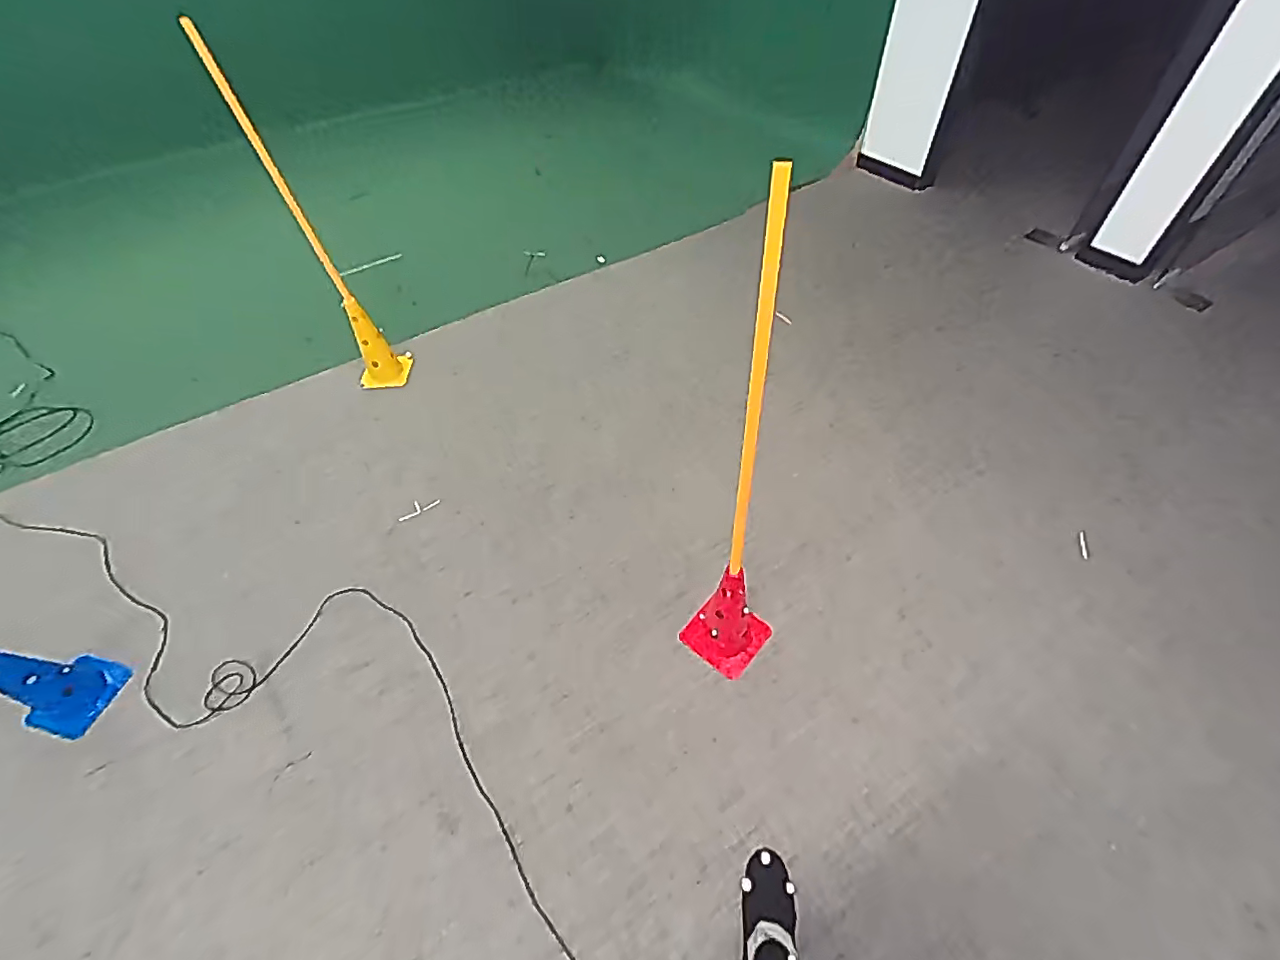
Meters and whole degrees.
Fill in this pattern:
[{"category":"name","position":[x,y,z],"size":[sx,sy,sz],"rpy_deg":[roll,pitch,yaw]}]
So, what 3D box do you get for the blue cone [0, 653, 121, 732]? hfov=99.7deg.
[{"category":"blue cone","position":[-1.579,0.493,1.370],"size":[0.192,0.380,0.193],"rpy_deg":[9,54,9]}]
